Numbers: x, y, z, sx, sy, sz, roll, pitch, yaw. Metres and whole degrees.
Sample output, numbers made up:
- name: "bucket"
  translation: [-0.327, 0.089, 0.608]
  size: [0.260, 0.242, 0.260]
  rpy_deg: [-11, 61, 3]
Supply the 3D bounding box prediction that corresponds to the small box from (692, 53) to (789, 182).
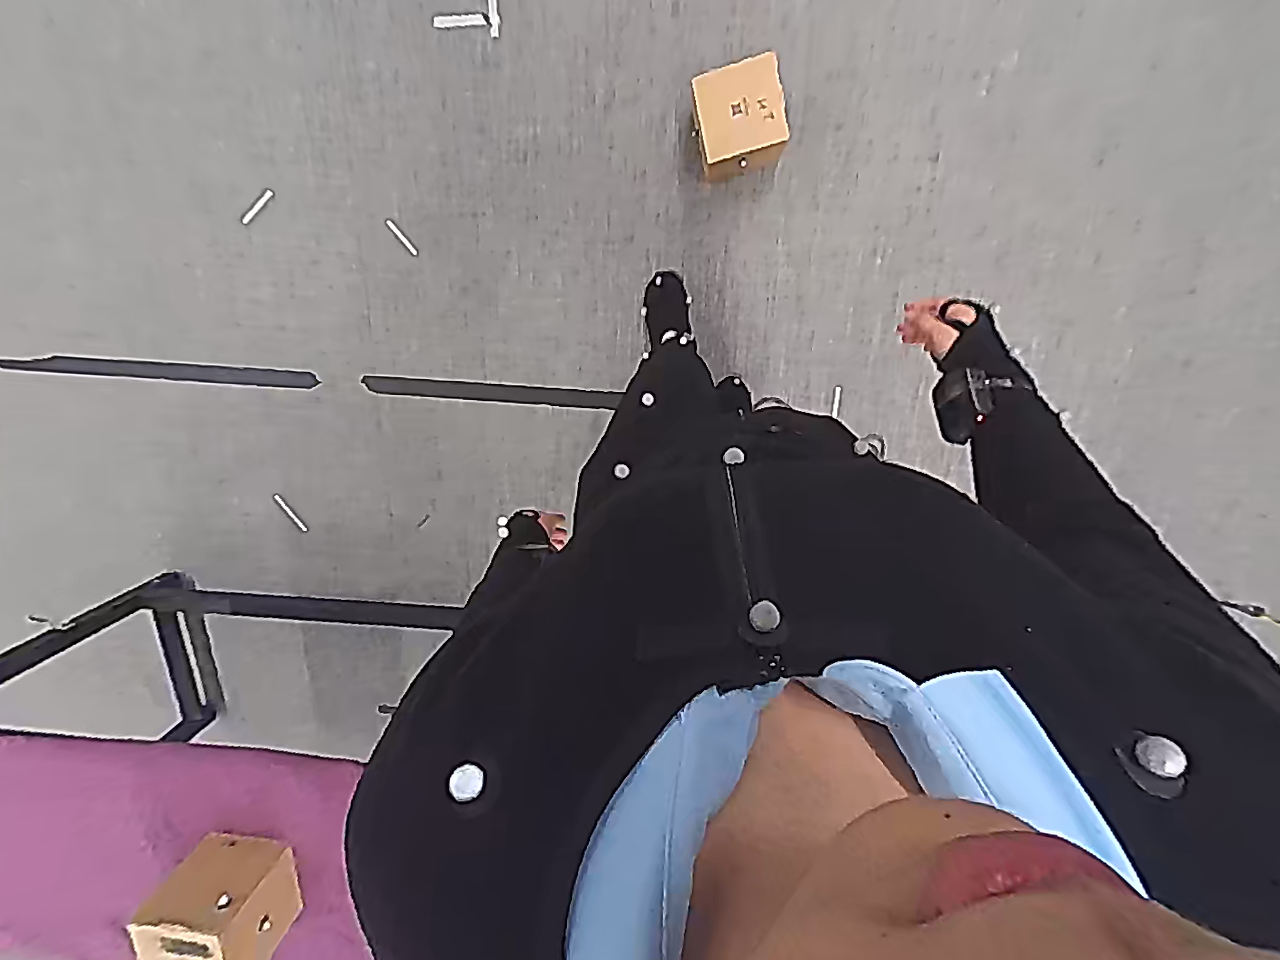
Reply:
- name: "small box"
  translation: [0.216, -0.779, 1.186]
  size: [0.179, 0.176, 0.168]
  rpy_deg: [-12, 104, 9]
